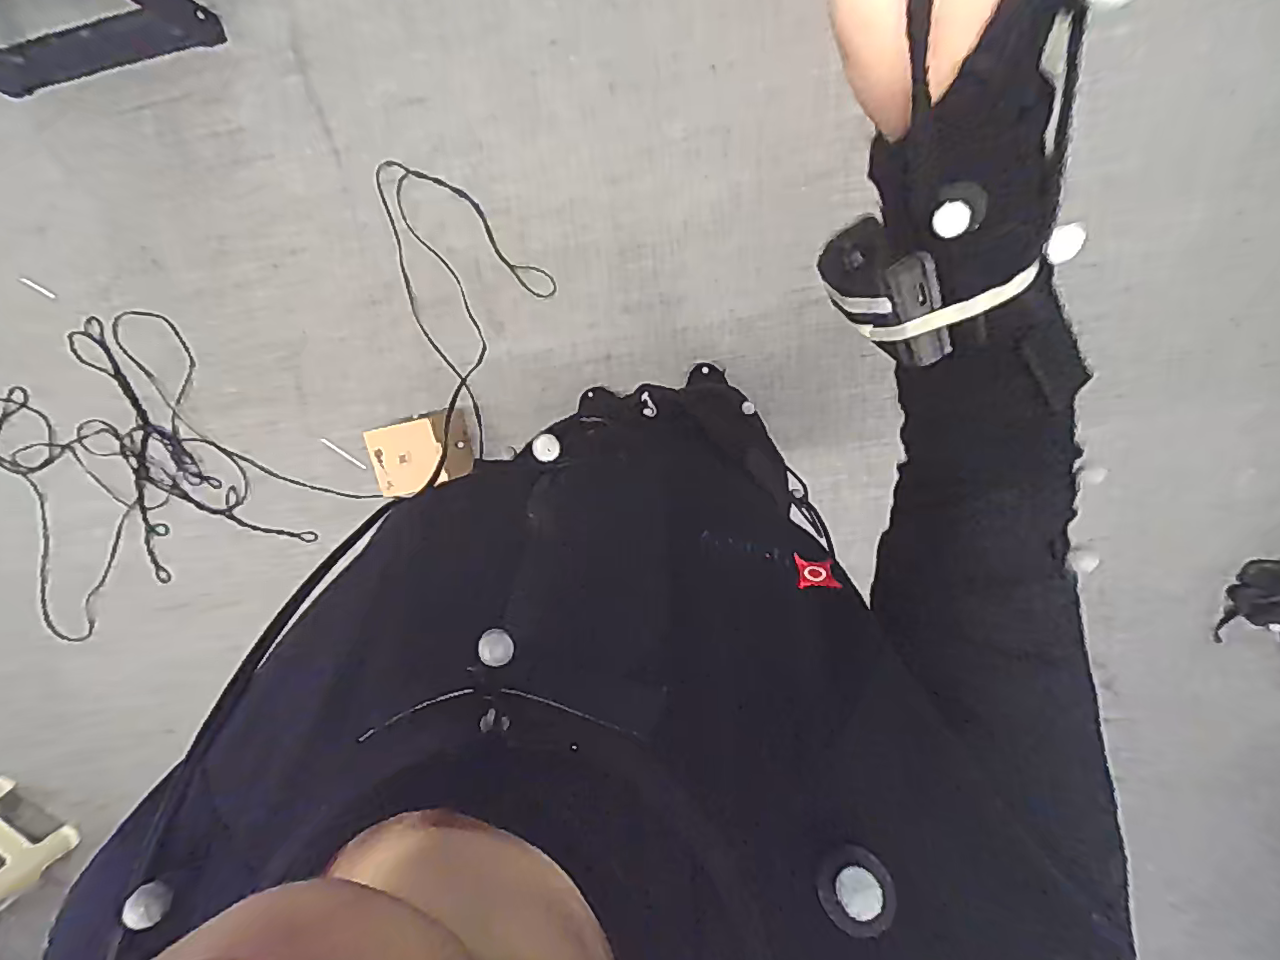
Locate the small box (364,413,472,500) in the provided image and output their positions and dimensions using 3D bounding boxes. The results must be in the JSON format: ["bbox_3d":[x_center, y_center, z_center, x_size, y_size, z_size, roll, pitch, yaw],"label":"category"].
[{"bbox_3d":[-0.532,-0.063,1.331,0.179,0.176,0.168,-10,102,8],"label":"small box"}]
